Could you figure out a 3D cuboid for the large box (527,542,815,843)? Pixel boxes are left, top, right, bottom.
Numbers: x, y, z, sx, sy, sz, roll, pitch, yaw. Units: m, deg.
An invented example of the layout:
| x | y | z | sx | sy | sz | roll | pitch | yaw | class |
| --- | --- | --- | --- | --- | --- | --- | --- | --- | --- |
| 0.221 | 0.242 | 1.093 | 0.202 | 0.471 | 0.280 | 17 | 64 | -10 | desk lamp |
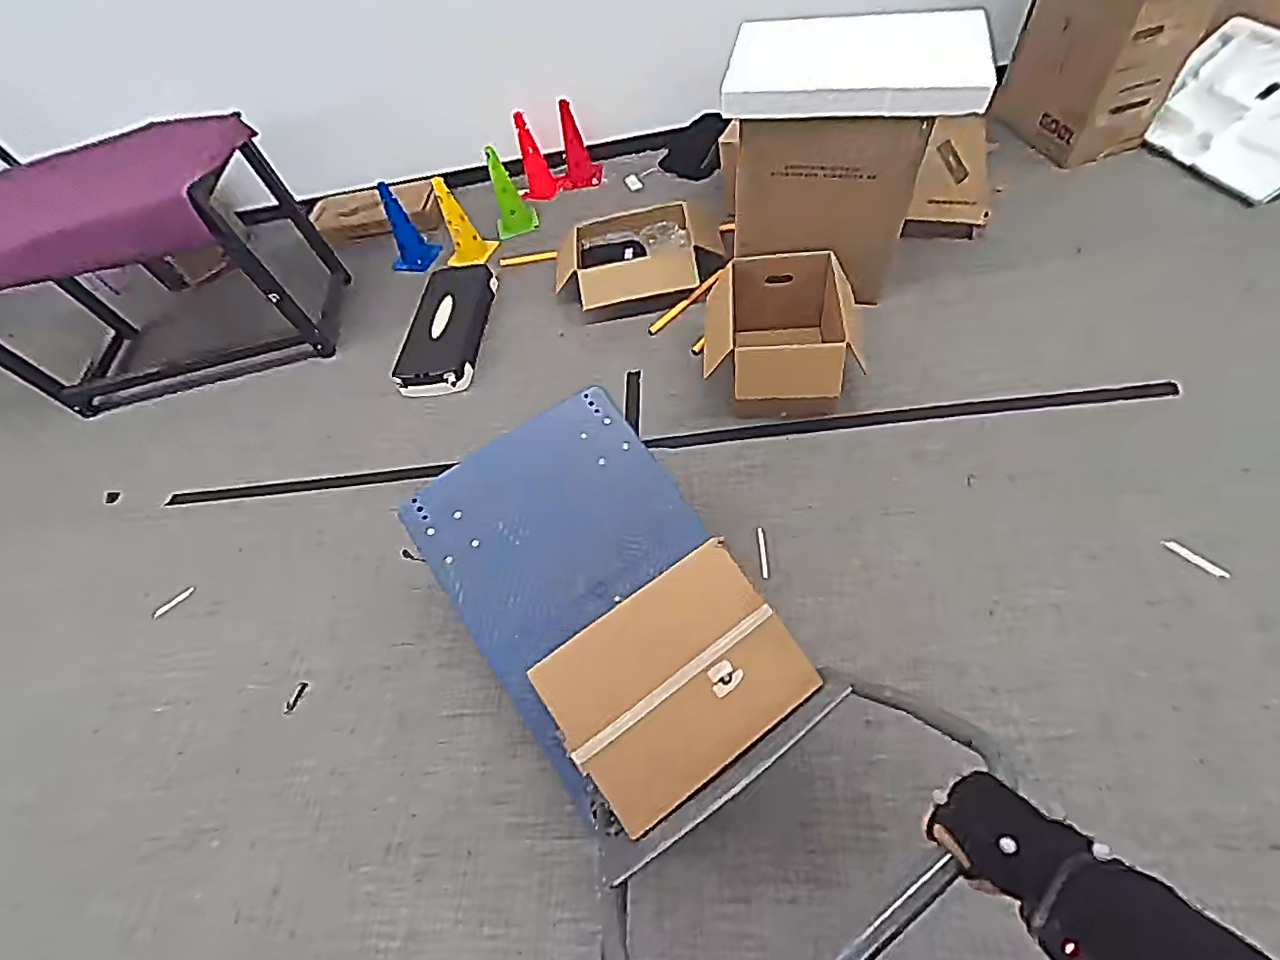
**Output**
| x | y | z | sx | sy | sz | roll | pitch | yaw | class |
| --- | --- | --- | --- | --- | --- | --- | --- | --- | --- |
| 0.044 | 0.381 | 1.053 | 0.408 | 0.320 | 0.320 | -34 | 81 | -13 | large box |
